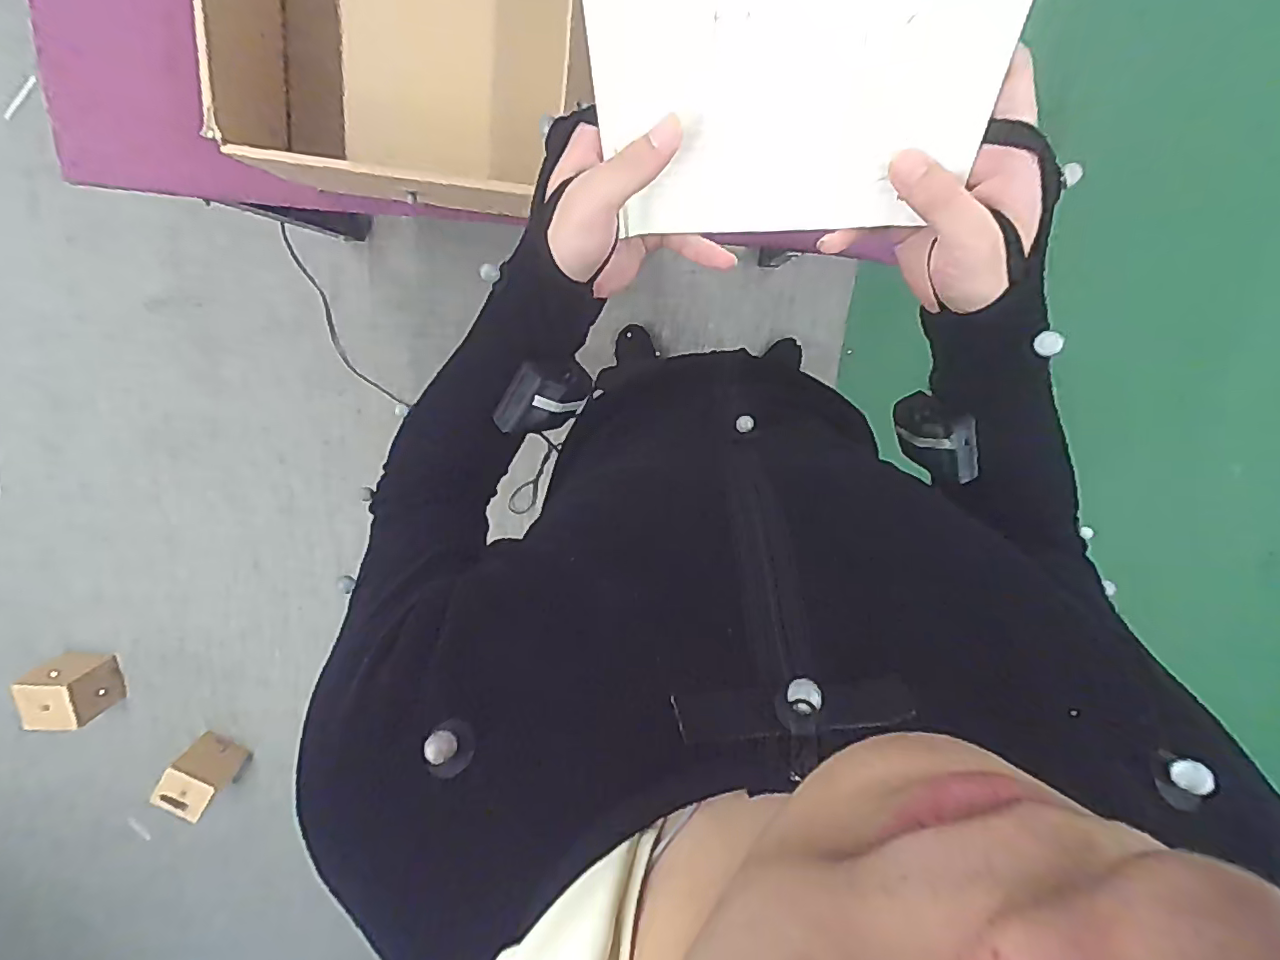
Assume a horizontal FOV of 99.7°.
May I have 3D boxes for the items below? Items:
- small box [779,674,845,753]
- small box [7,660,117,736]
[{"bbox_3d":[0.552,0.748,1.750,0.168,0.176,0.179,-6,105,2],"label":"small box"},{"bbox_3d":[-1.853,0.700,1.749,0.179,0.176,0.168,1,104,0],"label":"small box"}]
